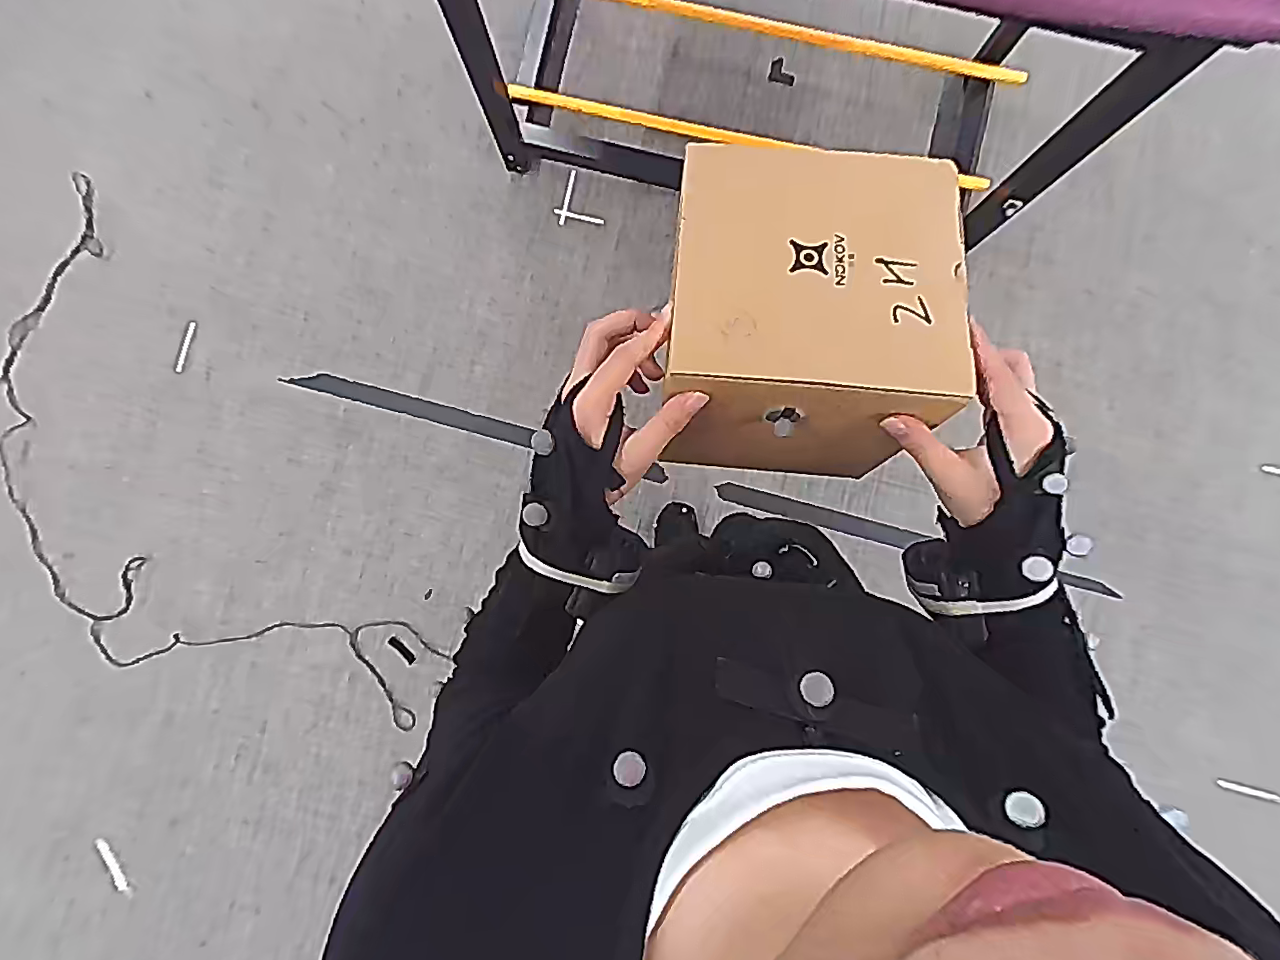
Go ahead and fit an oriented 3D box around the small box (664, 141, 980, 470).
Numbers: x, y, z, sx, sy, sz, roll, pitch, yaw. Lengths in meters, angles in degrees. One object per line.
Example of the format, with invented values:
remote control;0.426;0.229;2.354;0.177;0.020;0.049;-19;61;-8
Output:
small box;0.111;-0.111;0.401;0.179;0.176;0.168;5;75;1
